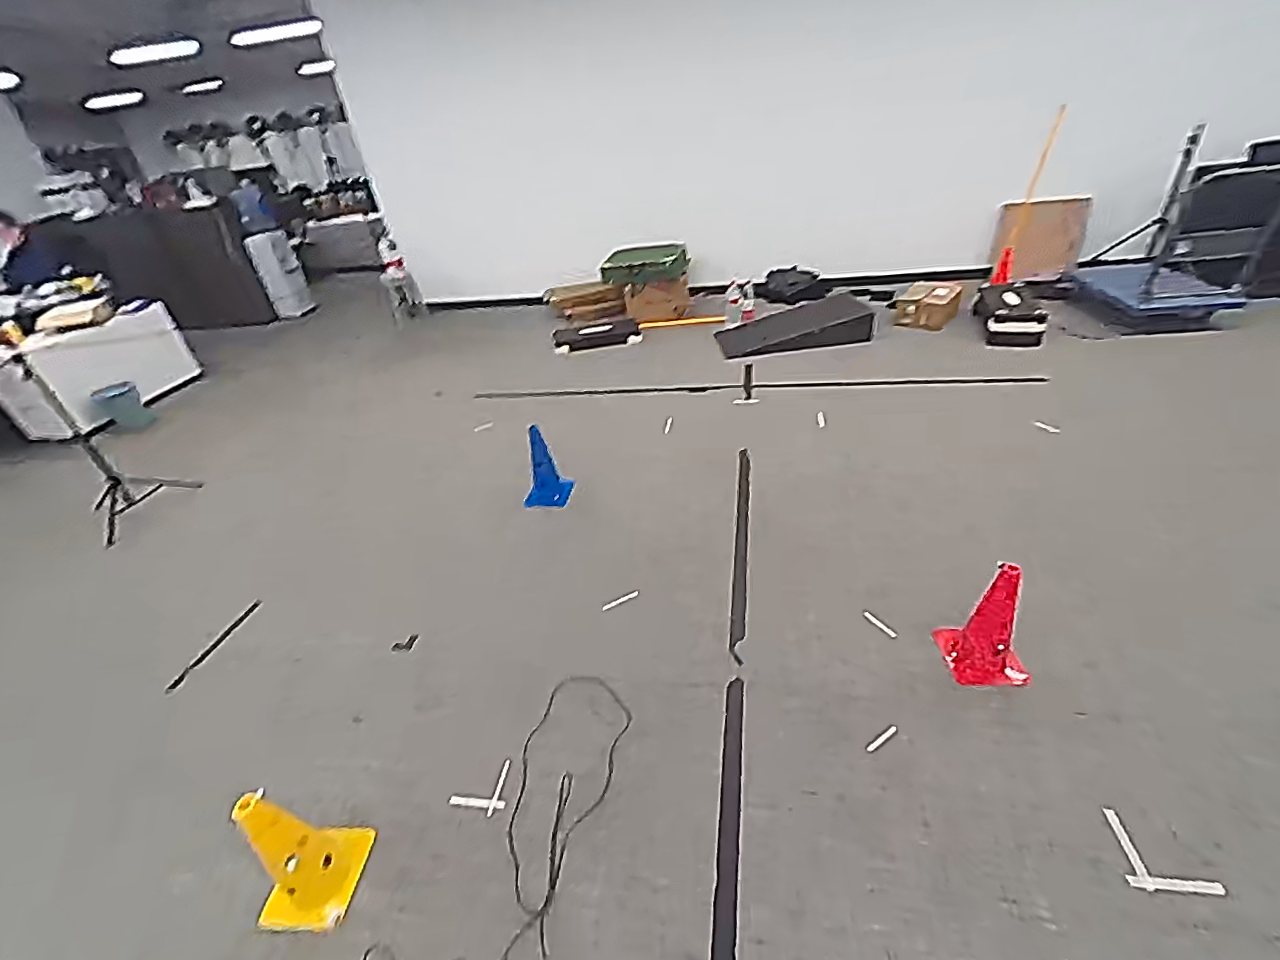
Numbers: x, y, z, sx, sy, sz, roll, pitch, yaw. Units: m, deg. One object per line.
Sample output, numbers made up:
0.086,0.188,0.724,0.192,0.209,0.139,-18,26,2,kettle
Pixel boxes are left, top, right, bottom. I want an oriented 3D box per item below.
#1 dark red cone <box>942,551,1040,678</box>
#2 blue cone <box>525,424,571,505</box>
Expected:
0.981,0.346,1.463,0.201,0.394,0.202,-5,34,6,dark red cone
-0.443,-0.079,2.407,0.192,0.380,0.193,0,35,13,blue cone
